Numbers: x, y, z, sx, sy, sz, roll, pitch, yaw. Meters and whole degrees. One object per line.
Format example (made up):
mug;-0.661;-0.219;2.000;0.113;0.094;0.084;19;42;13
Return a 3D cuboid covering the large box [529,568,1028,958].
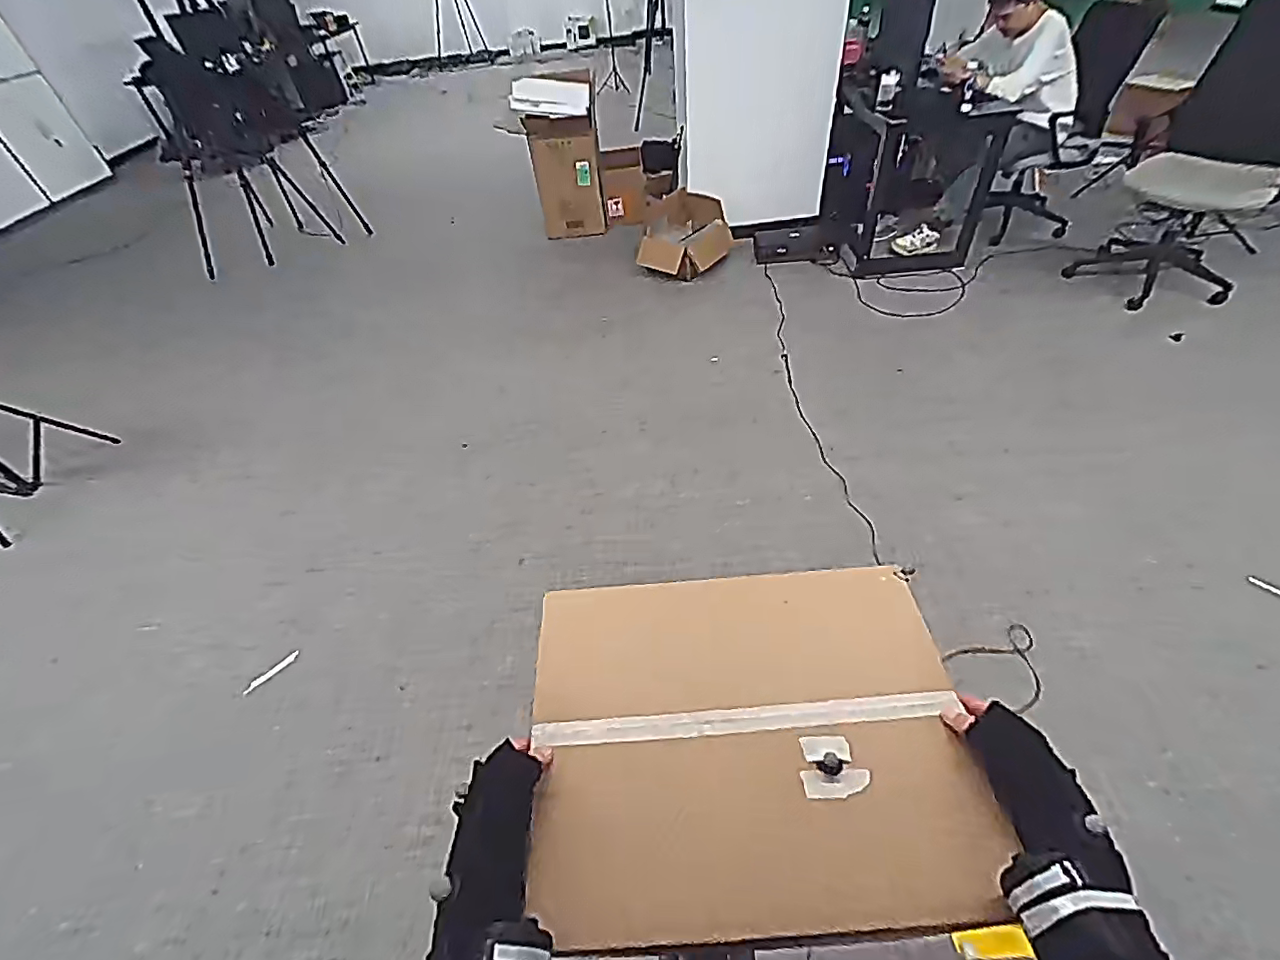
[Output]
large box;0.107;0.331;0.630;0.408;0.320;0.320;-4;48;1
